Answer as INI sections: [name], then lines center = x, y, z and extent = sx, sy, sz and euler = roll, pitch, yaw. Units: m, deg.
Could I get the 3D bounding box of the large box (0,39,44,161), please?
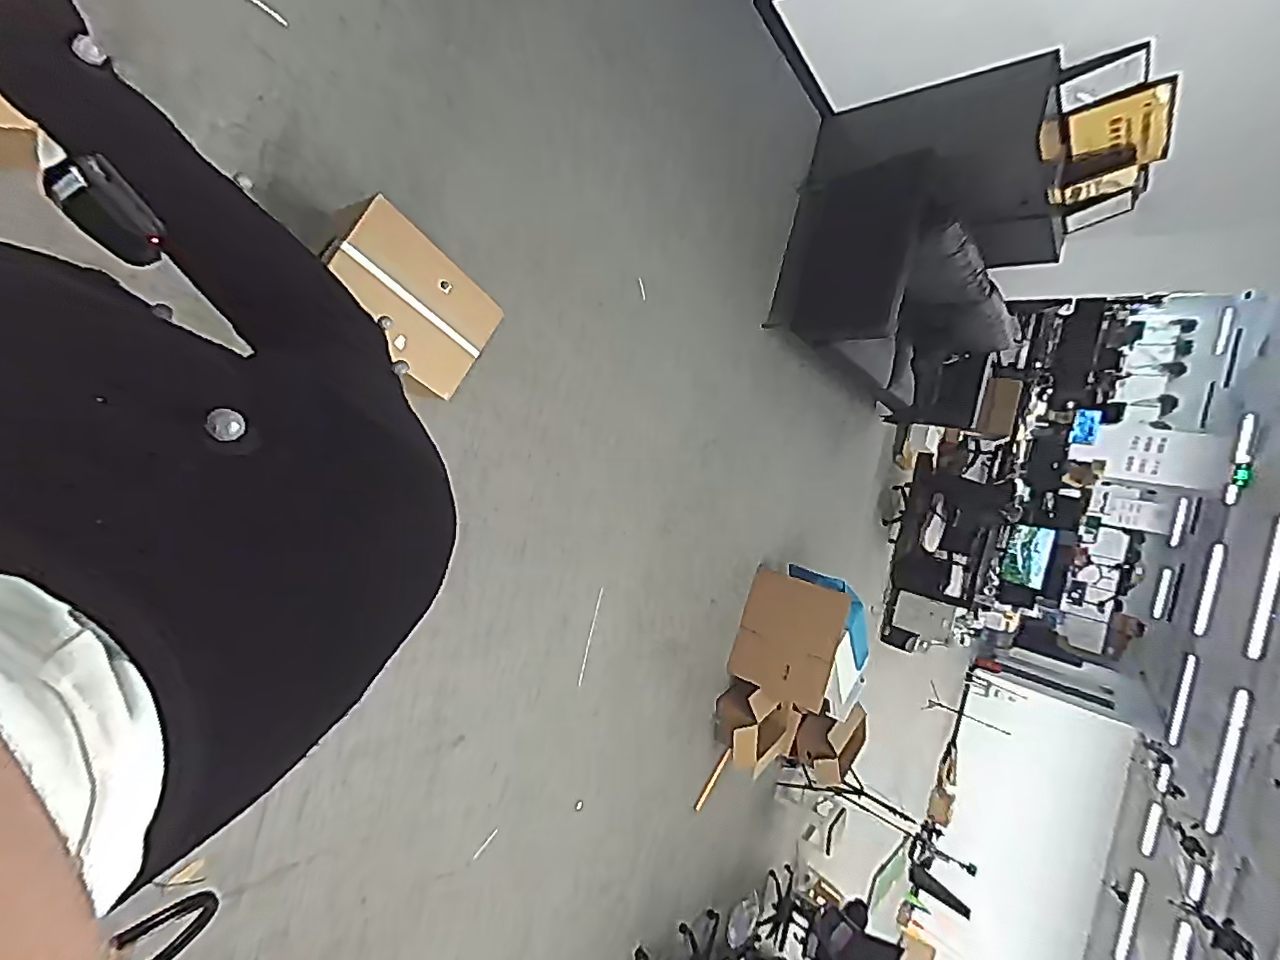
[large box]
center = -1.220, -0.659, 0.781
extent = 0.408, 0.320, 0.320
euler = -29, 120, -39
